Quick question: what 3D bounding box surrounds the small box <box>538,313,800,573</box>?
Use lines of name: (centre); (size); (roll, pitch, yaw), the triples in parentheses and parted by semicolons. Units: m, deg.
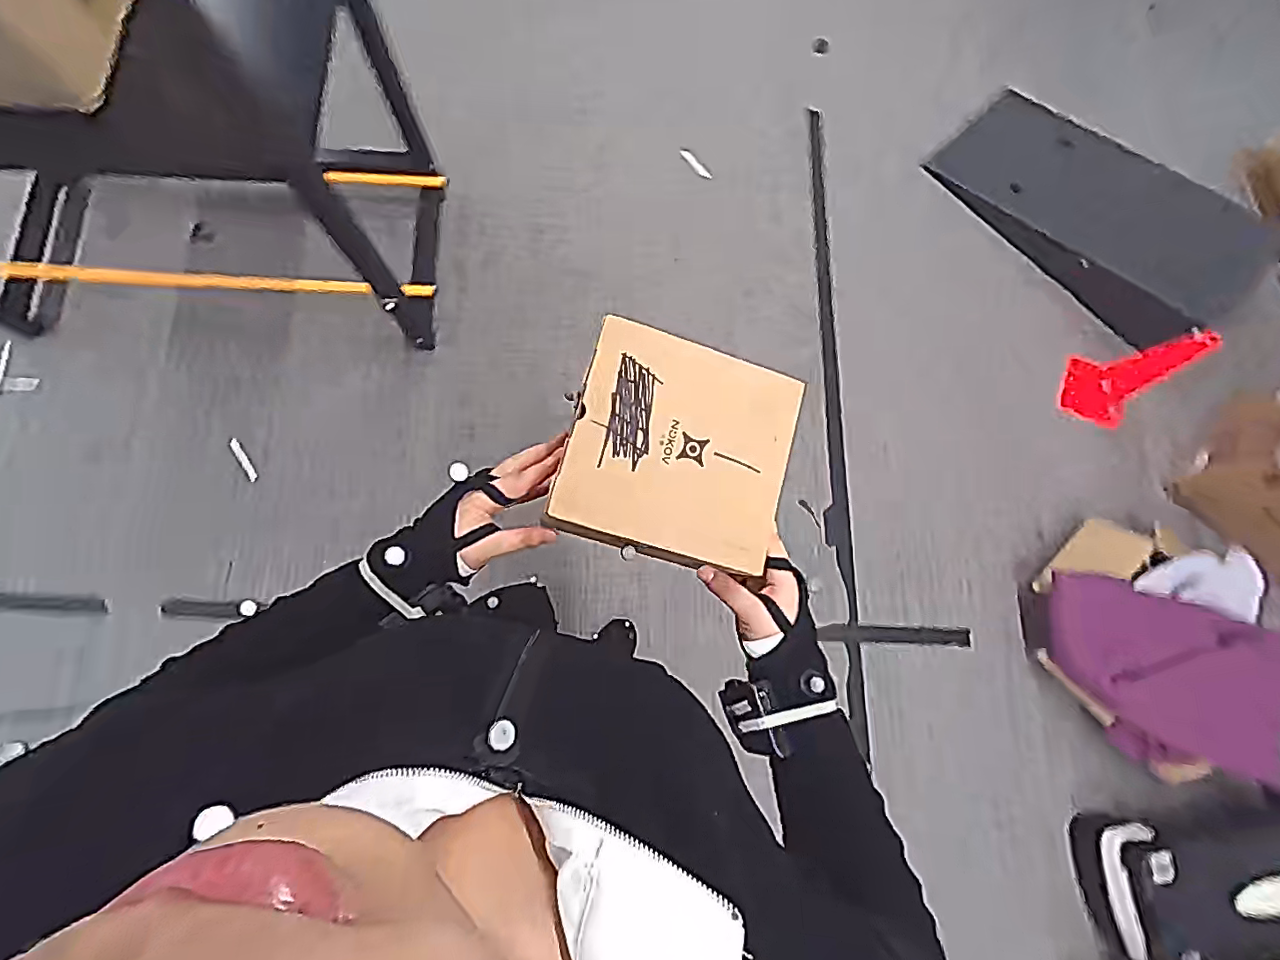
small box: (0.013, -0.018, 0.489); (0.179, 0.176, 0.168); (16, 80, -9)
